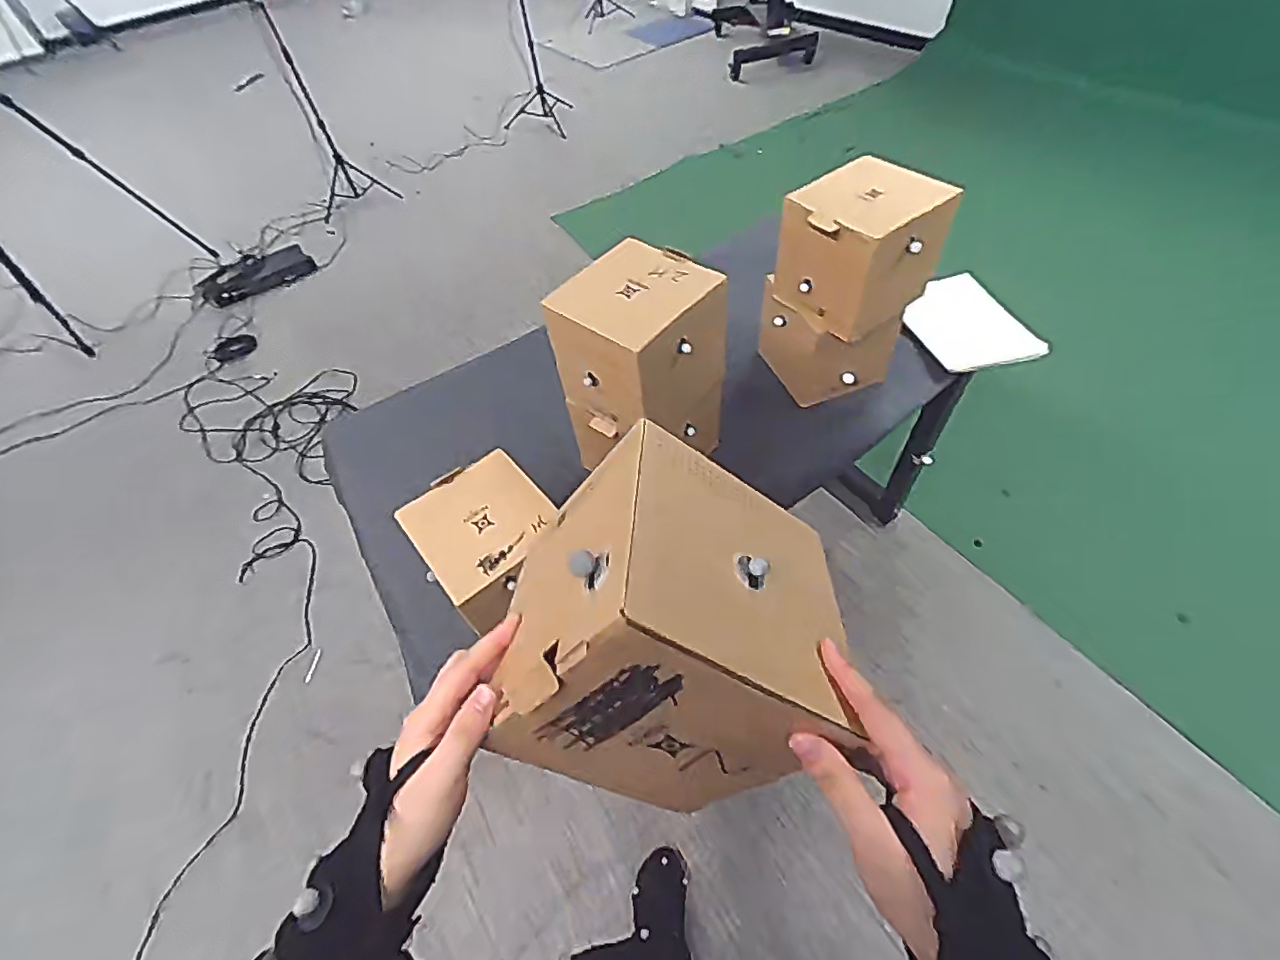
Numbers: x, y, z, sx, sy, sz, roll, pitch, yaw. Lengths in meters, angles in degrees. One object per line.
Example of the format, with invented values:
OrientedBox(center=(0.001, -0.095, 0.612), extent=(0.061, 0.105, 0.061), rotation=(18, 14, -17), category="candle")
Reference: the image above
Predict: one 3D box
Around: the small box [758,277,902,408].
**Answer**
OrientedBox(center=(0.323, -0.260, 0.967), extent=(0.168, 0.176, 0.179), rotation=(-19, 54, -7), category="small box")

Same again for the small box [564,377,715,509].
OrientedBox(center=(0.008, -0.084, 0.877), extent=(0.168, 0.176, 0.179), rotation=(31, 62, 25), category="small box")

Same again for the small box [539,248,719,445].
OrientedBox(center=(-0.005, -0.179, 0.743), extent=(0.168, 0.176, 0.179), rotation=(33, 63, 26), category="small box")

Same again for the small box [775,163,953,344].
OrientedBox(center=(0.324, -0.342, 0.824), extent=(0.179, 0.176, 0.168), rotation=(-33, 56, -16), category="small box")

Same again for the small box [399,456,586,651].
OrientedBox(center=(-0.197, 0.106, 0.758), extent=(0.168, 0.176, 0.179), rotation=(-36, 58, -20), category="small box")
